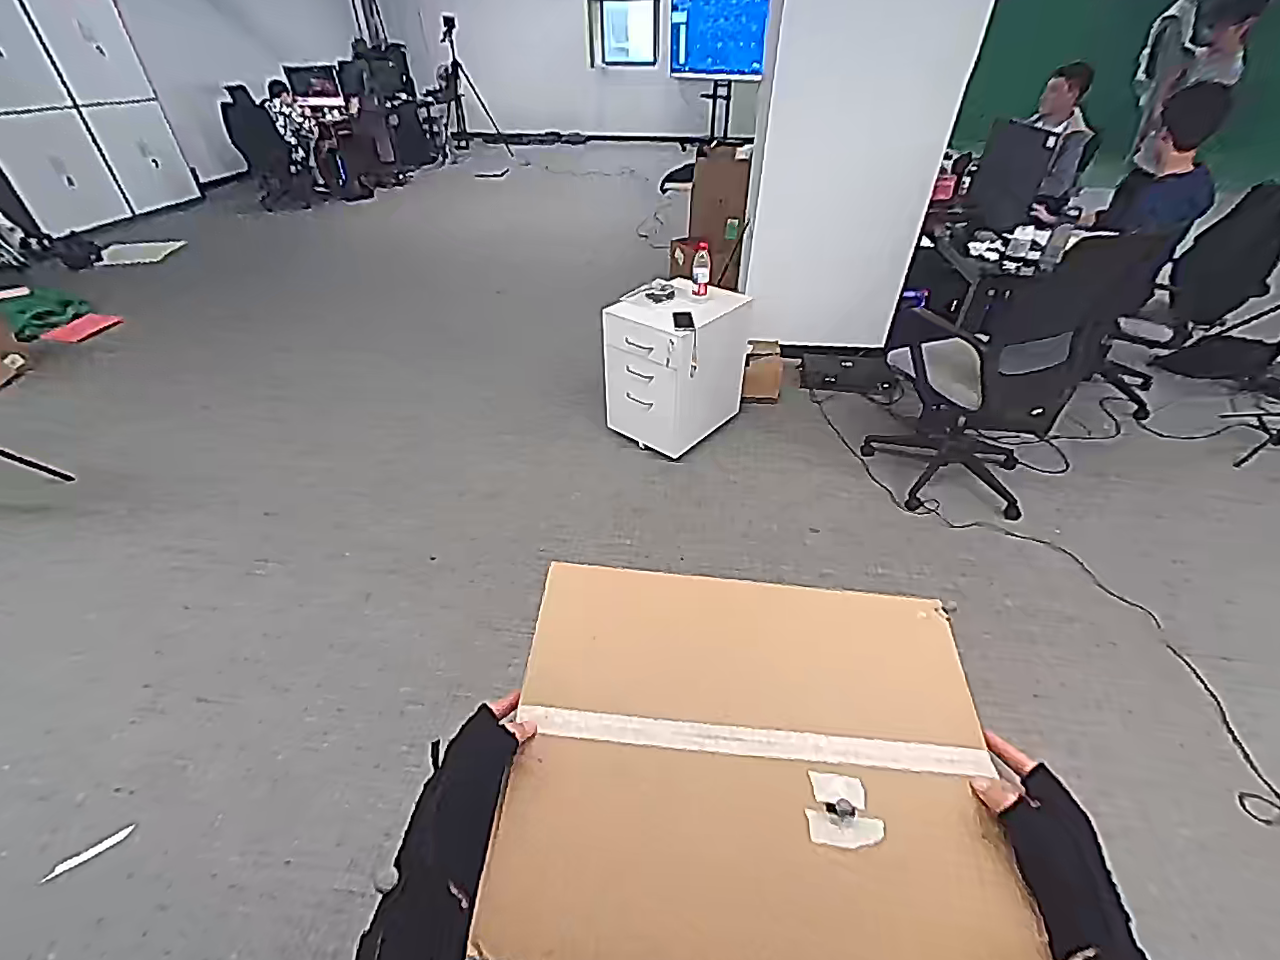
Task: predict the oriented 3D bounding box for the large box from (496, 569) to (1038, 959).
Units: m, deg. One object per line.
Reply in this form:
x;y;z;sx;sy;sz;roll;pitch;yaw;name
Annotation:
0.092;0.322;0.595;0.408;0.320;0.320;5;51;0;large box
